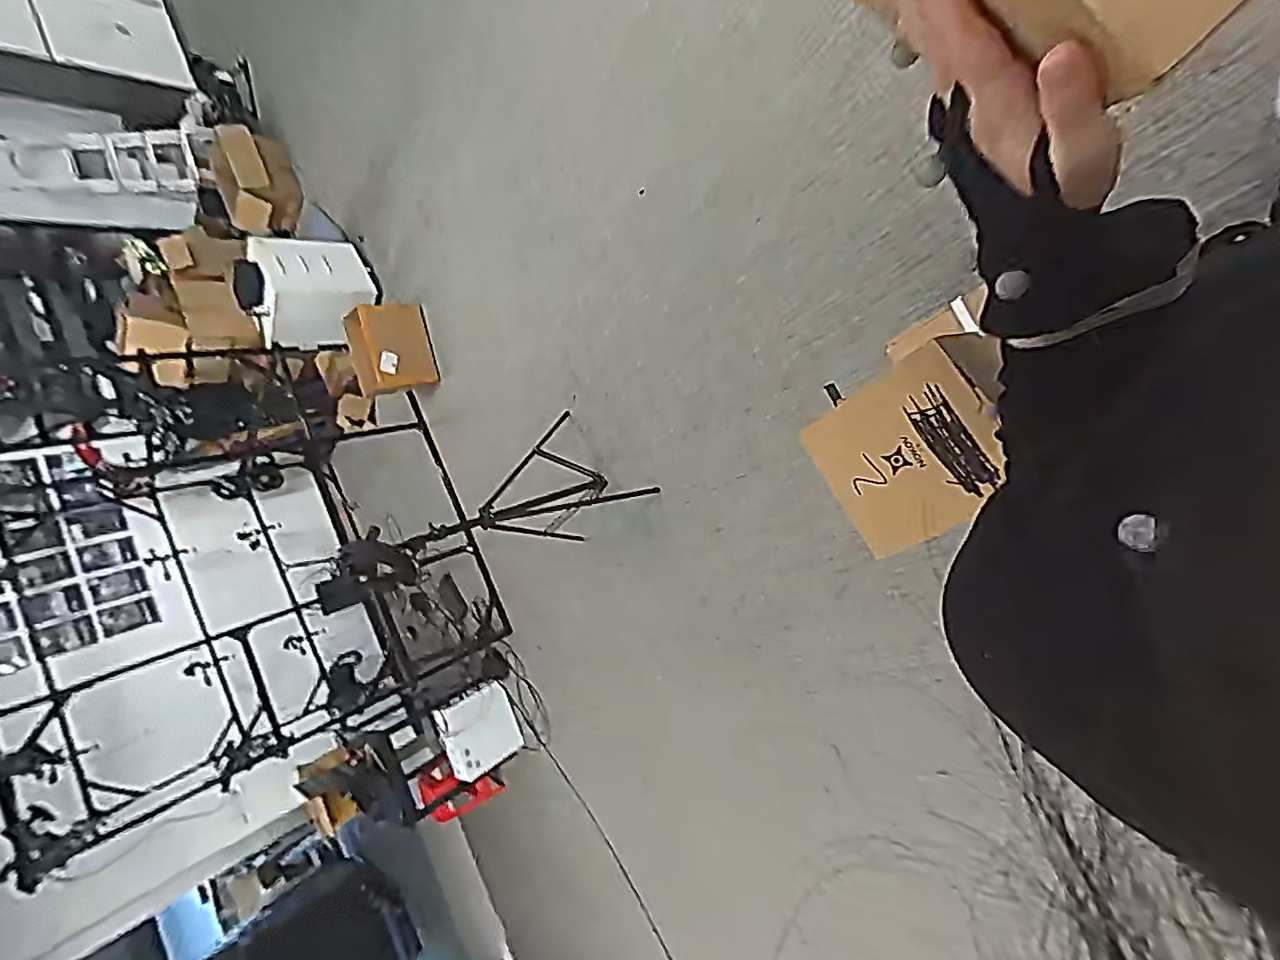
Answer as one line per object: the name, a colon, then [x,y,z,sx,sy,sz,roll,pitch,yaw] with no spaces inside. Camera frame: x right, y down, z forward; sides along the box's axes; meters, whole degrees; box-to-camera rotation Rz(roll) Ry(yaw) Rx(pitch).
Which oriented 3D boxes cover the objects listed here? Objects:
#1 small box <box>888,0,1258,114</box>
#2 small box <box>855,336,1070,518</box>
small box: [0.196,-0.284,0.216,0.179,0.176,0.168,41,120,-4]
small box: [0.431,-0.076,0.719,0.179,0.176,0.168,-41,73,44]
